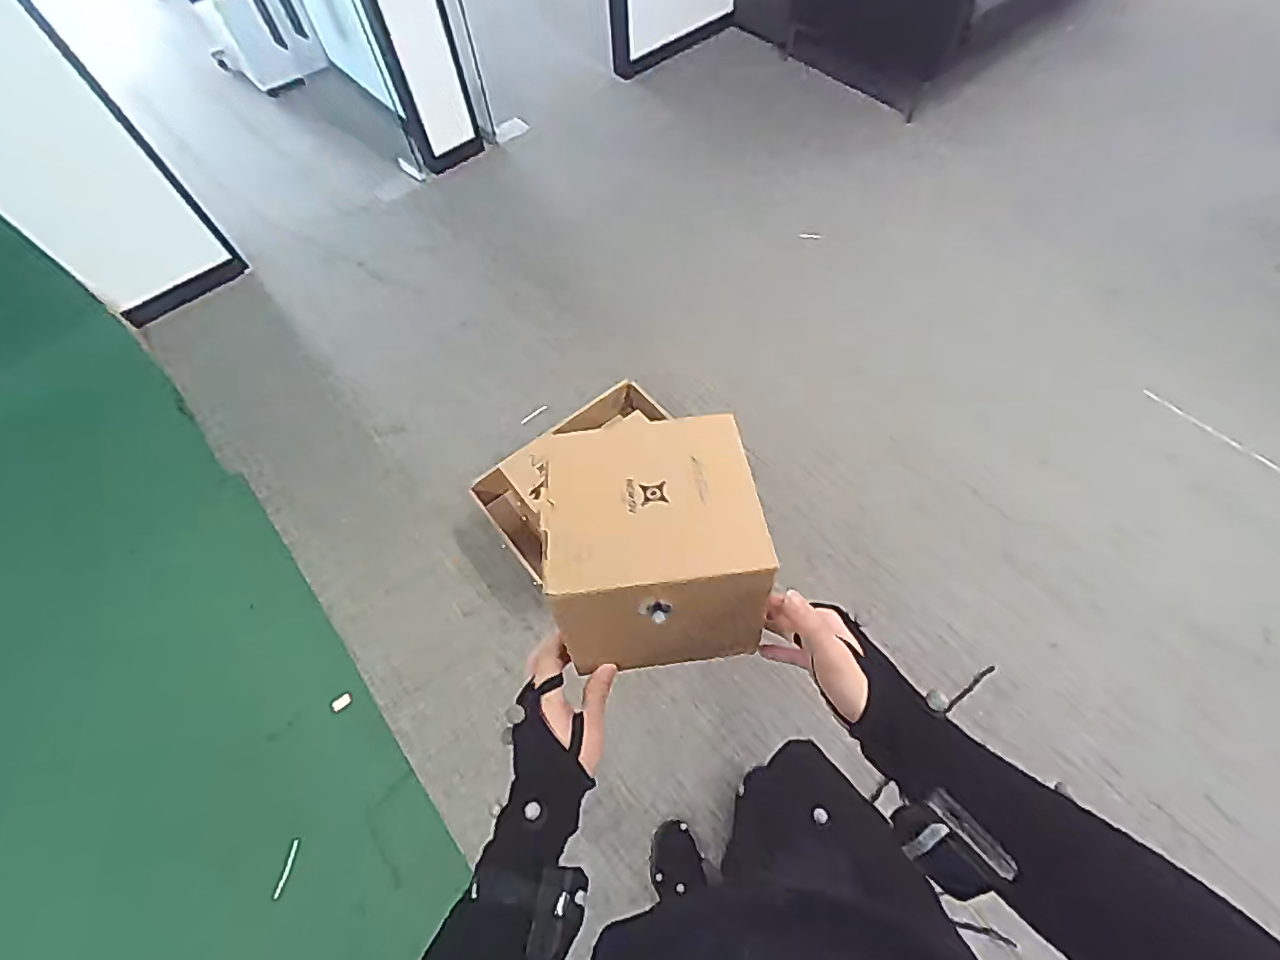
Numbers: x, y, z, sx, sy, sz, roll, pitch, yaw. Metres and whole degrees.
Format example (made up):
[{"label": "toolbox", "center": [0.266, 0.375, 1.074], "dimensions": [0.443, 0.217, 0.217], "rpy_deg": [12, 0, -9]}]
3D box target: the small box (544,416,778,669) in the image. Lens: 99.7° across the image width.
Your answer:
[{"label": "small box", "center": [0.016, 0.064, 0.504], "dimensions": [0.179, 0.176, 0.168], "rpy_deg": [-6, 50, -1]}]
